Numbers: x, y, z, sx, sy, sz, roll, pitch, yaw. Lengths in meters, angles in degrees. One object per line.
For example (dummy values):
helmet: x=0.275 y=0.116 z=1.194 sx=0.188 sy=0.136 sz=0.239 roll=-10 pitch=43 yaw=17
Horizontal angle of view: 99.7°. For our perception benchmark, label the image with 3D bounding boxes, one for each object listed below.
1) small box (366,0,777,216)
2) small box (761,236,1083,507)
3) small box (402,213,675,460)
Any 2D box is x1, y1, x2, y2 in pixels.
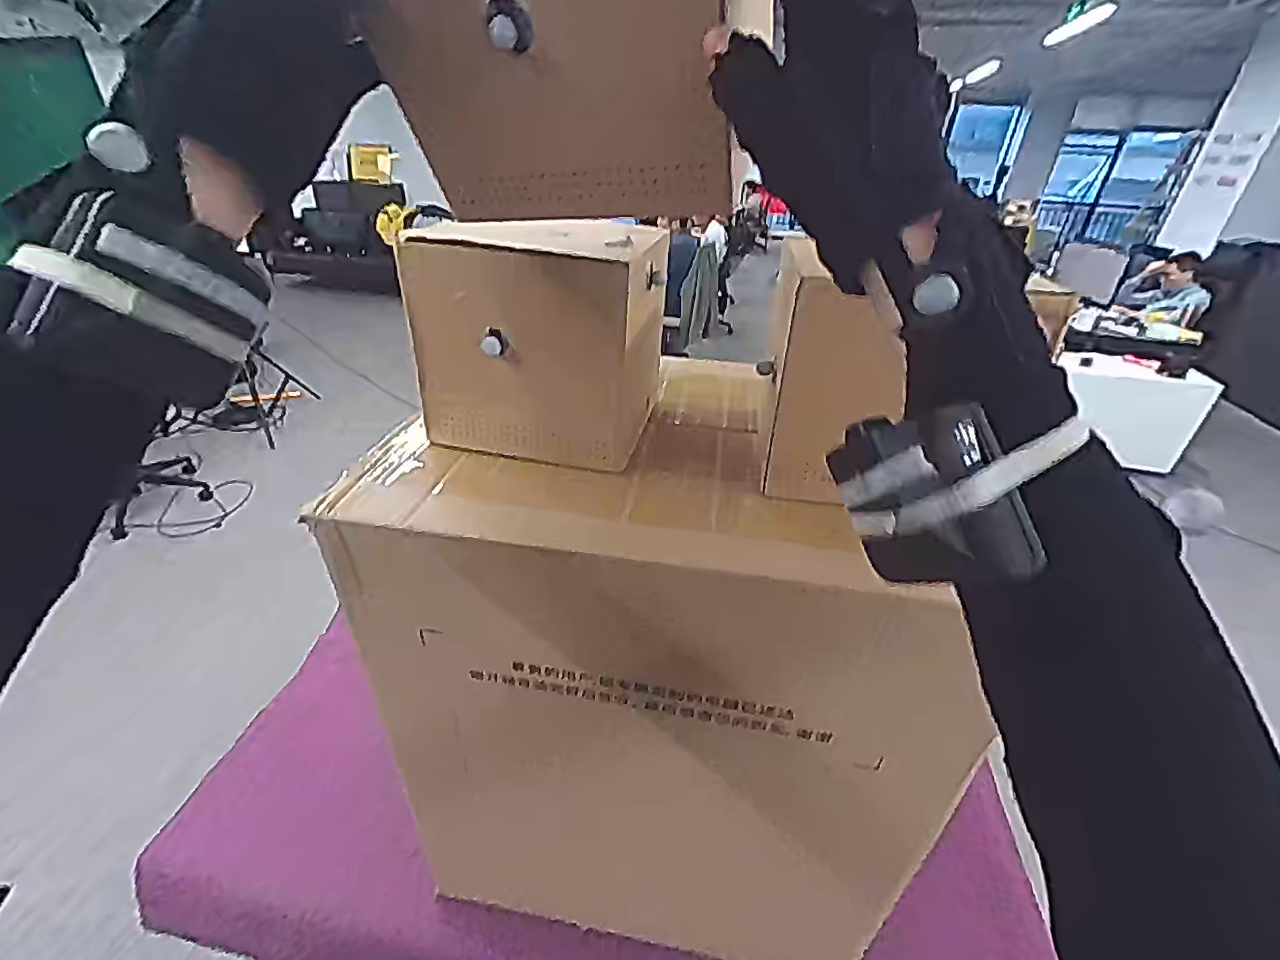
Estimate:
small box: x=-0.022 y=-0.267 z=0.290 sx=0.179 sy=0.176 sz=0.168 roll=5 pitch=57 yaw=18
small box: x=0.194 y=-0.095 z=0.440 sx=0.168 sy=0.176 sz=0.179 roll=7 pitch=31 yaw=6
small box: x=-0.073 y=-0.132 z=0.476 sx=0.179 sy=0.176 sz=0.168 roll=9 pitch=32 yaw=9
